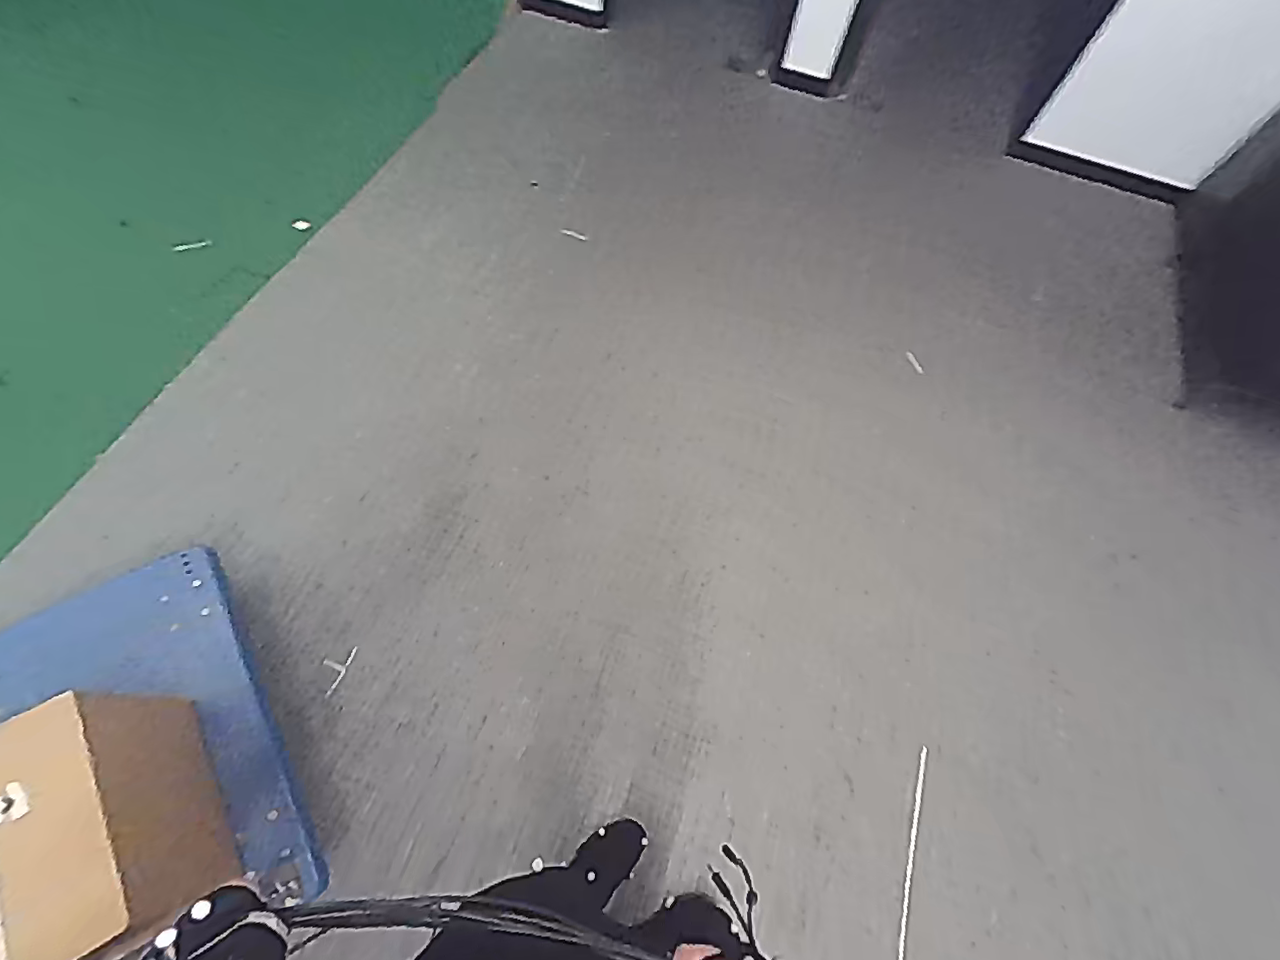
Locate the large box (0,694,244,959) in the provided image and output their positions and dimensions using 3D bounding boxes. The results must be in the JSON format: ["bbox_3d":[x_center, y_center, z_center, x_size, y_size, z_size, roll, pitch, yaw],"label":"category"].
[{"bbox_3d":[-1.005,0.655,0.962,0.320,0.320,0.408,-29,69,-18],"label":"large box"}]
